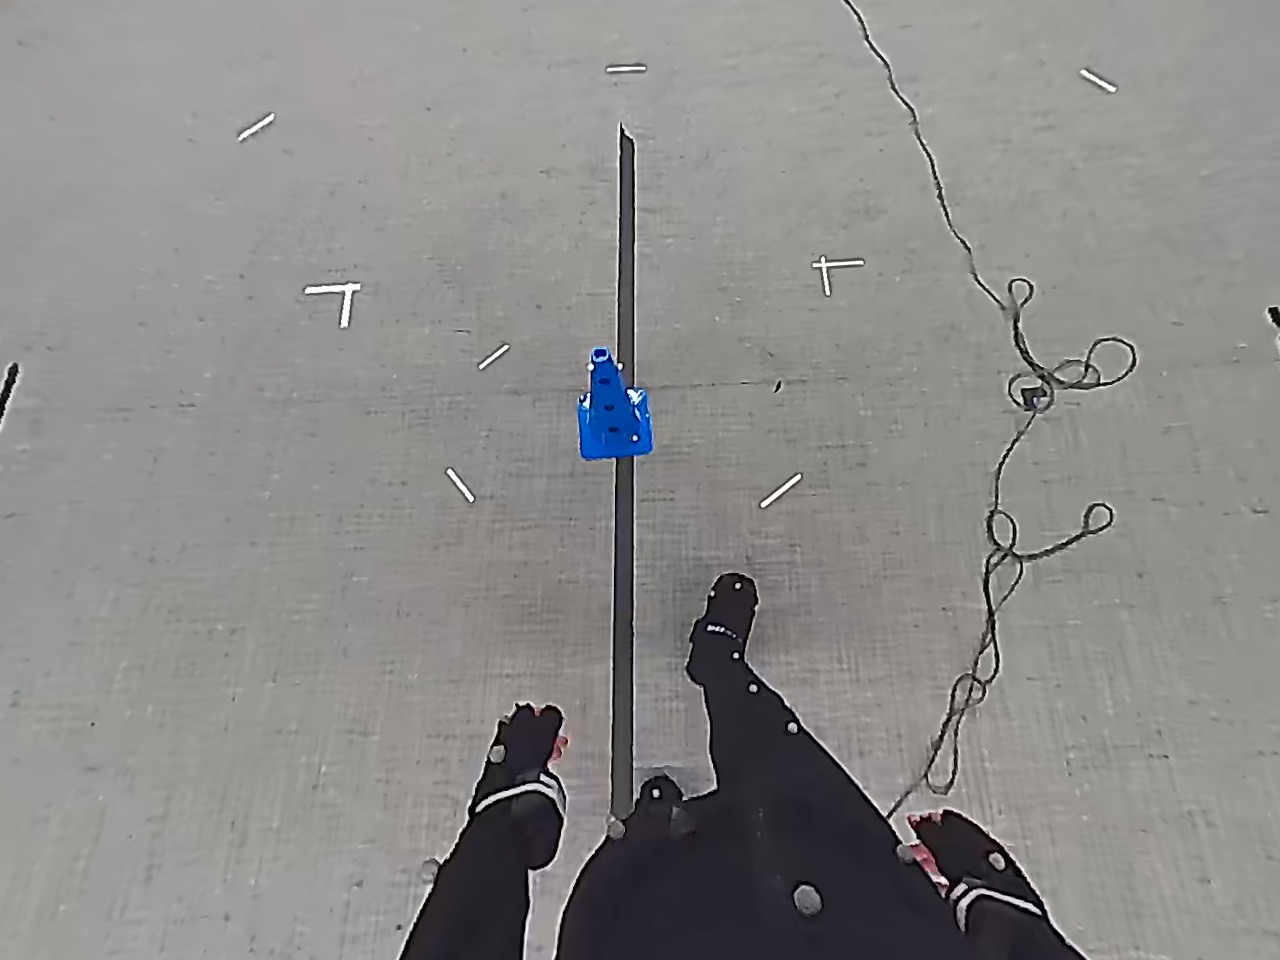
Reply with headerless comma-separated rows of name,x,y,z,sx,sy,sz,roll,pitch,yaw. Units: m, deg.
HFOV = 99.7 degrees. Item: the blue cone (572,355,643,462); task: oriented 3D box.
blue cone,-0.099,-0.199,1.348,0.192,0.380,0.193,-5,71,1
